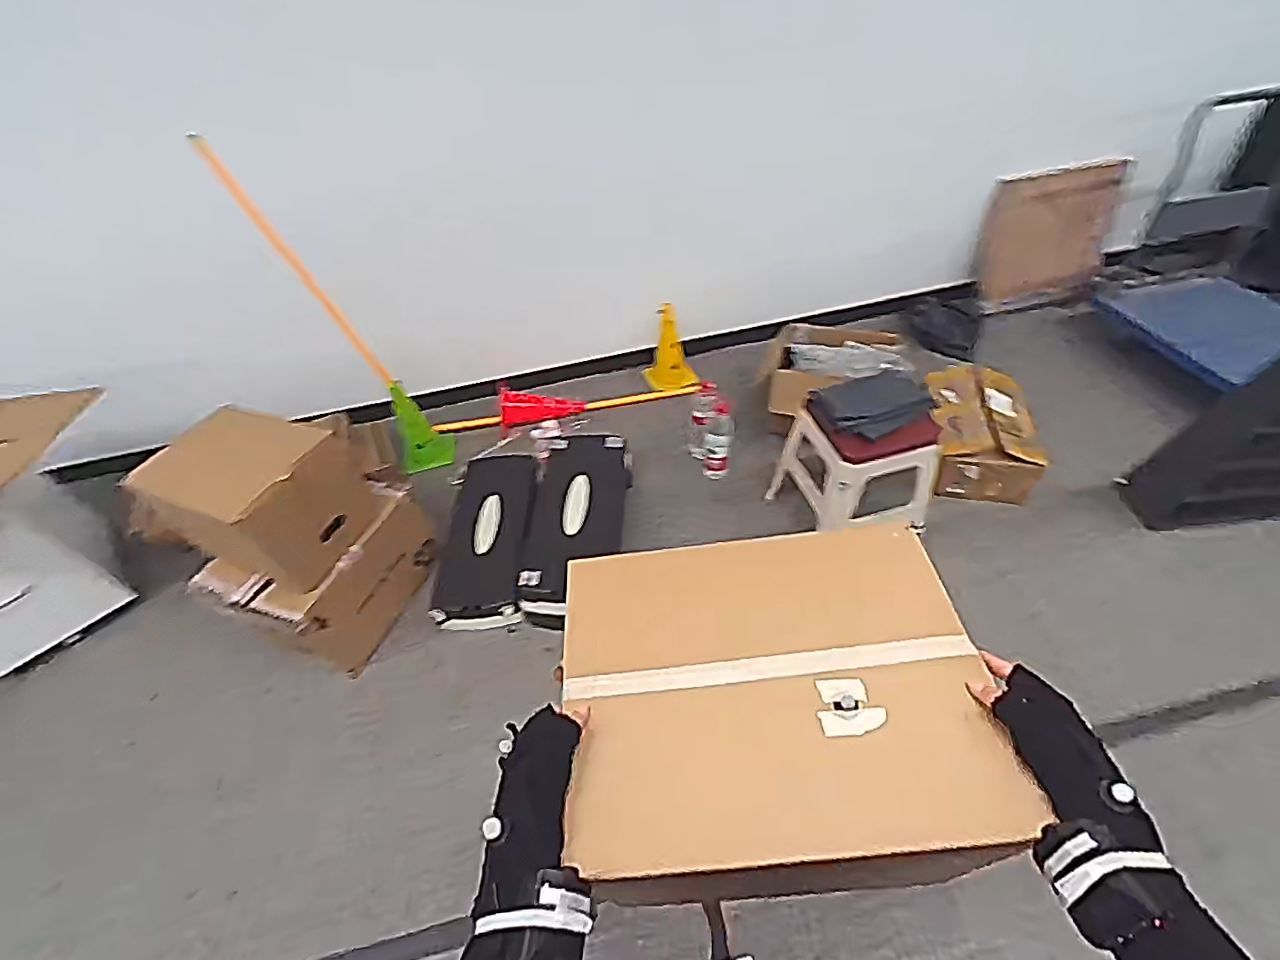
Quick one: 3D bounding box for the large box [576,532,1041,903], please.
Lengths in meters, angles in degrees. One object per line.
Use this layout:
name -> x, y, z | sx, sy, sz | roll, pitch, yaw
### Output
large box -> 0.147, 0.298, 0.665 | 0.408, 0.320, 0.320 | -7, 49, 3
